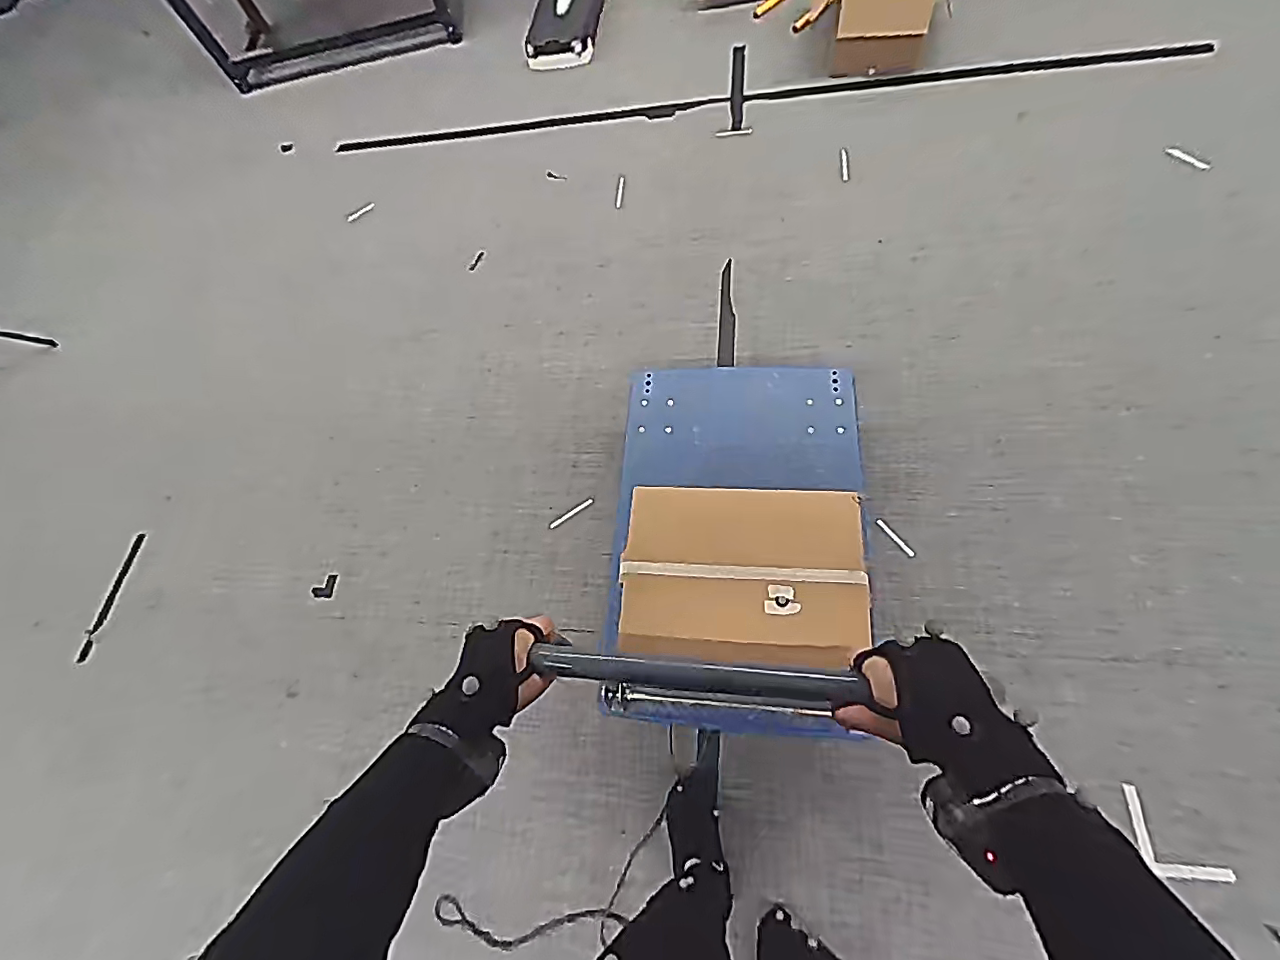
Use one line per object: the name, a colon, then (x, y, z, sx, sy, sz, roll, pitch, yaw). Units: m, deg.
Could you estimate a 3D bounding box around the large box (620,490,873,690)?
large box: (0.192, 0.223, 1.049, 0.408, 0.320, 0.320, 1, 67, 9)
